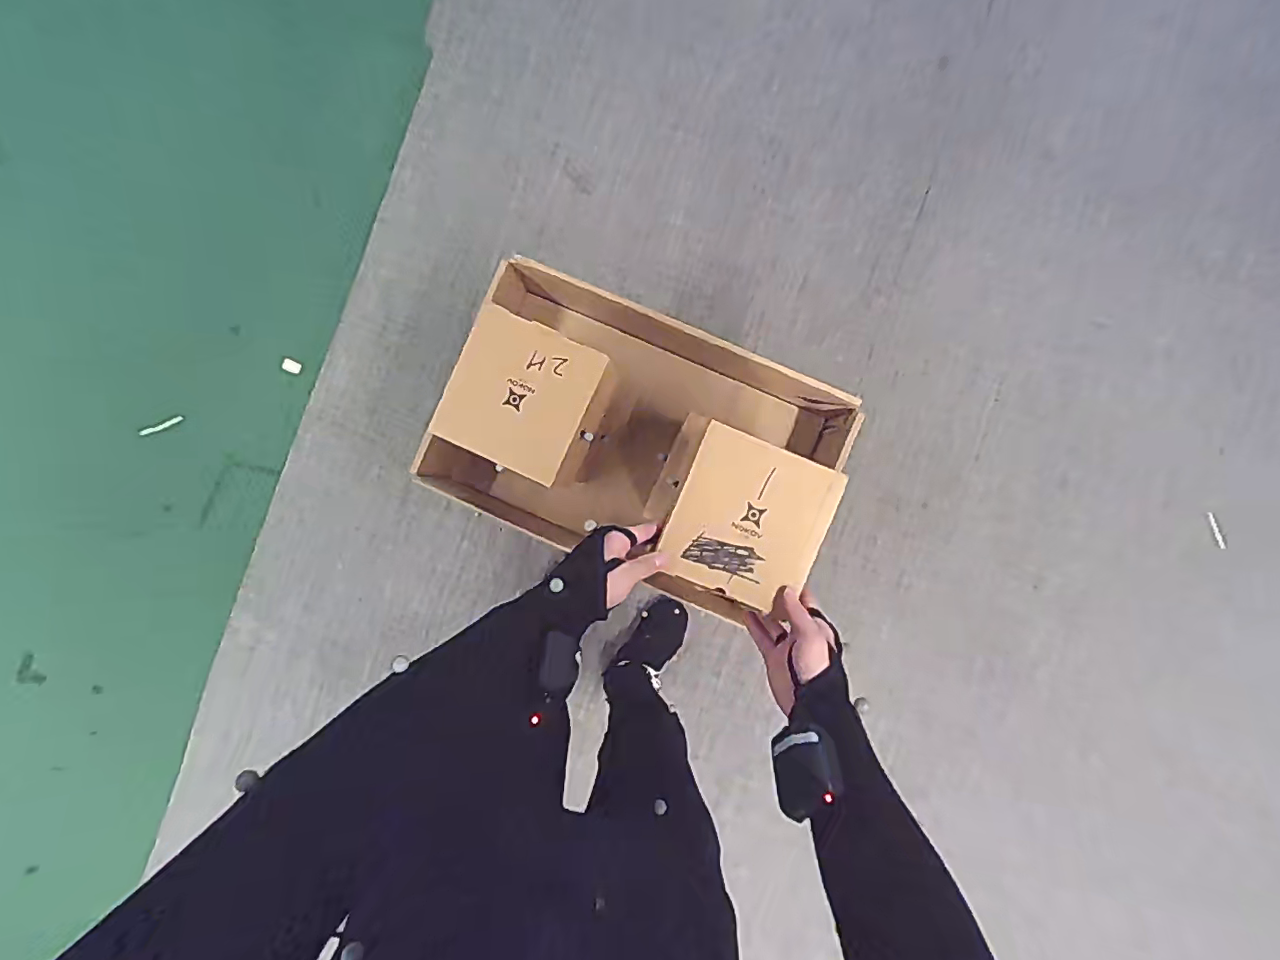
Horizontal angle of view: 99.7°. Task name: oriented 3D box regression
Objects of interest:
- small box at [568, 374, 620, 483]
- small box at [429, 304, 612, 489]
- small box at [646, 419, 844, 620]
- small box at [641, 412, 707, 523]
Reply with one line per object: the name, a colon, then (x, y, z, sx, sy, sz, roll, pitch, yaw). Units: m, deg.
small box: (-0.140, -0.106, 0.892, 0.168, 0.176, 0.179, 26, 89, 3)
small box: (-0.145, -0.100, 0.728, 0.168, 0.176, 0.179, 25, 90, 0)
small box: (0.116, 0.042, 0.668, 0.168, 0.176, 0.179, 23, 91, -1)
small box: (0.113, 0.010, 0.886, 0.168, 0.176, 0.179, 24, 90, 2)
